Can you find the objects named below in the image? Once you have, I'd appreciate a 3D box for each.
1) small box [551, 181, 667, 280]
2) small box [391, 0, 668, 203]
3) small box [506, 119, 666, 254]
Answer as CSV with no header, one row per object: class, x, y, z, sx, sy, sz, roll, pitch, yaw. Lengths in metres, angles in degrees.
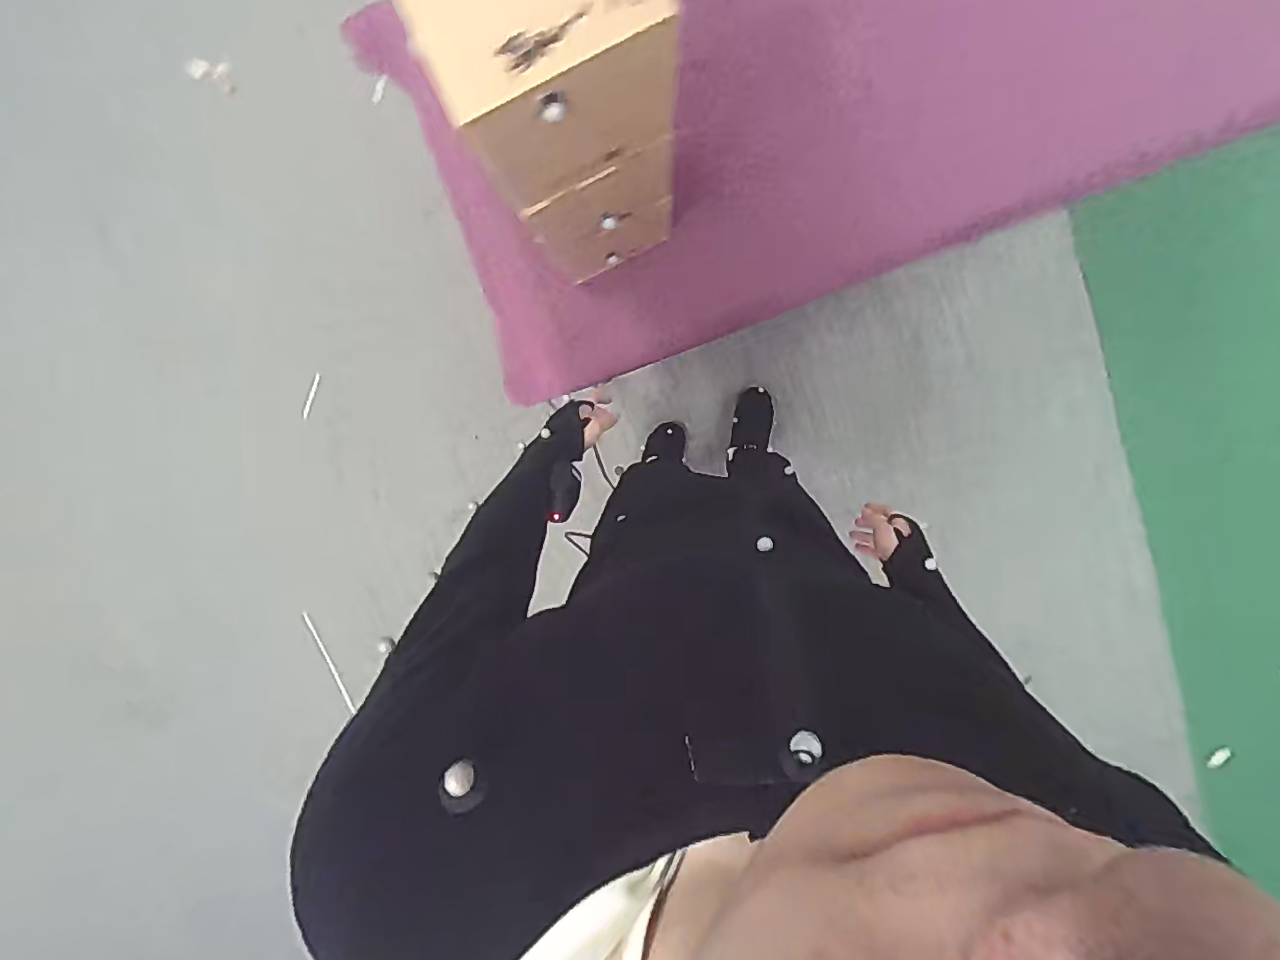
small box,-0.074,-0.406,0.747,0.168,0.176,0.179,-26,97,5
small box,-0.089,-0.359,0.422,0.168,0.176,0.179,-25,96,5
small box,-0.084,-0.380,0.585,0.168,0.176,0.179,-27,97,5
